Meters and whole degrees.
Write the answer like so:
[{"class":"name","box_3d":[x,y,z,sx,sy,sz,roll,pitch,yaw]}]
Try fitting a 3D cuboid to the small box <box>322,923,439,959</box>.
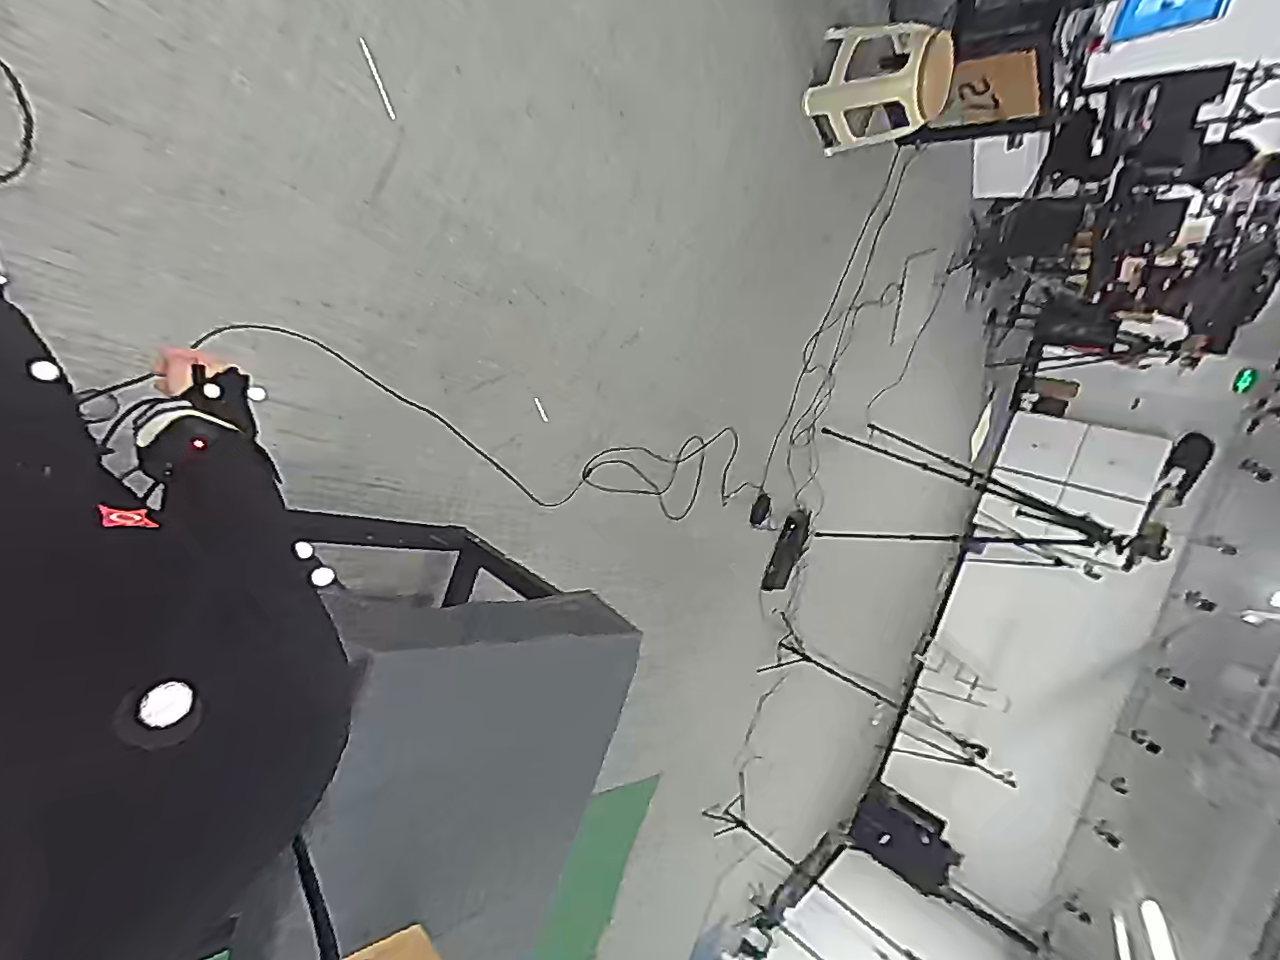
[{"class":"small box","box_3d":[-0.419,0.846,0.840,0.168,0.176,0.179,19,93,-52]}]
